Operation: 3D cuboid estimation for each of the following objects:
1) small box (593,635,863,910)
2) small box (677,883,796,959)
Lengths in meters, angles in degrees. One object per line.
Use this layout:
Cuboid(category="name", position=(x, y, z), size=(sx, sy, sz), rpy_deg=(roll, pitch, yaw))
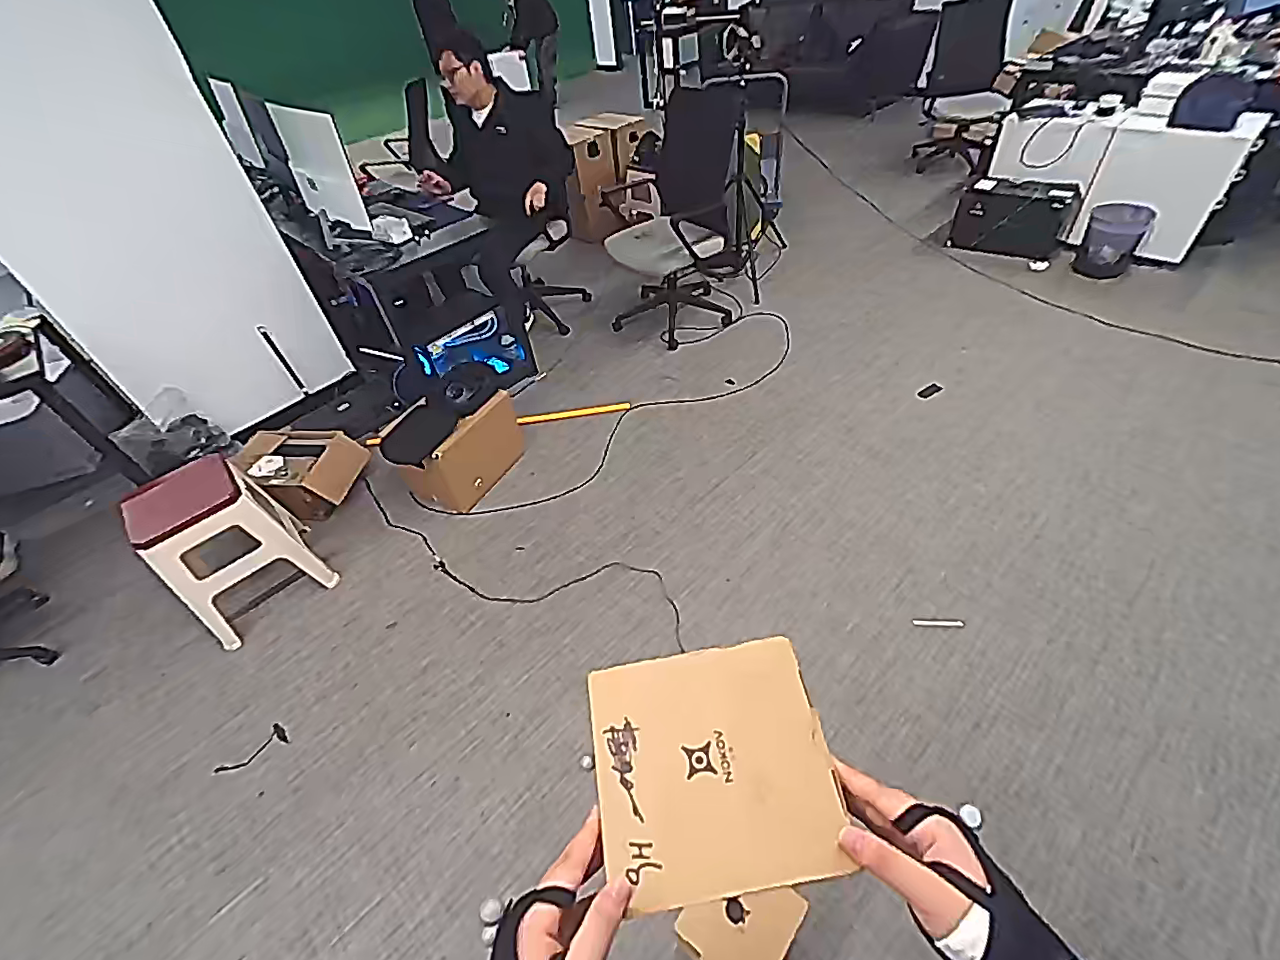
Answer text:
Cuboid(category="small box", position=(0.062, 0.258, 0.477), size=(0.179, 0.176, 0.168), rpy_deg=(-10, 52, -2))
Cuboid(category="small box", position=(0.191, 0.910, 1.096), size=(0.168, 0.176, 0.179), rpy_deg=(30, 57, 32))
